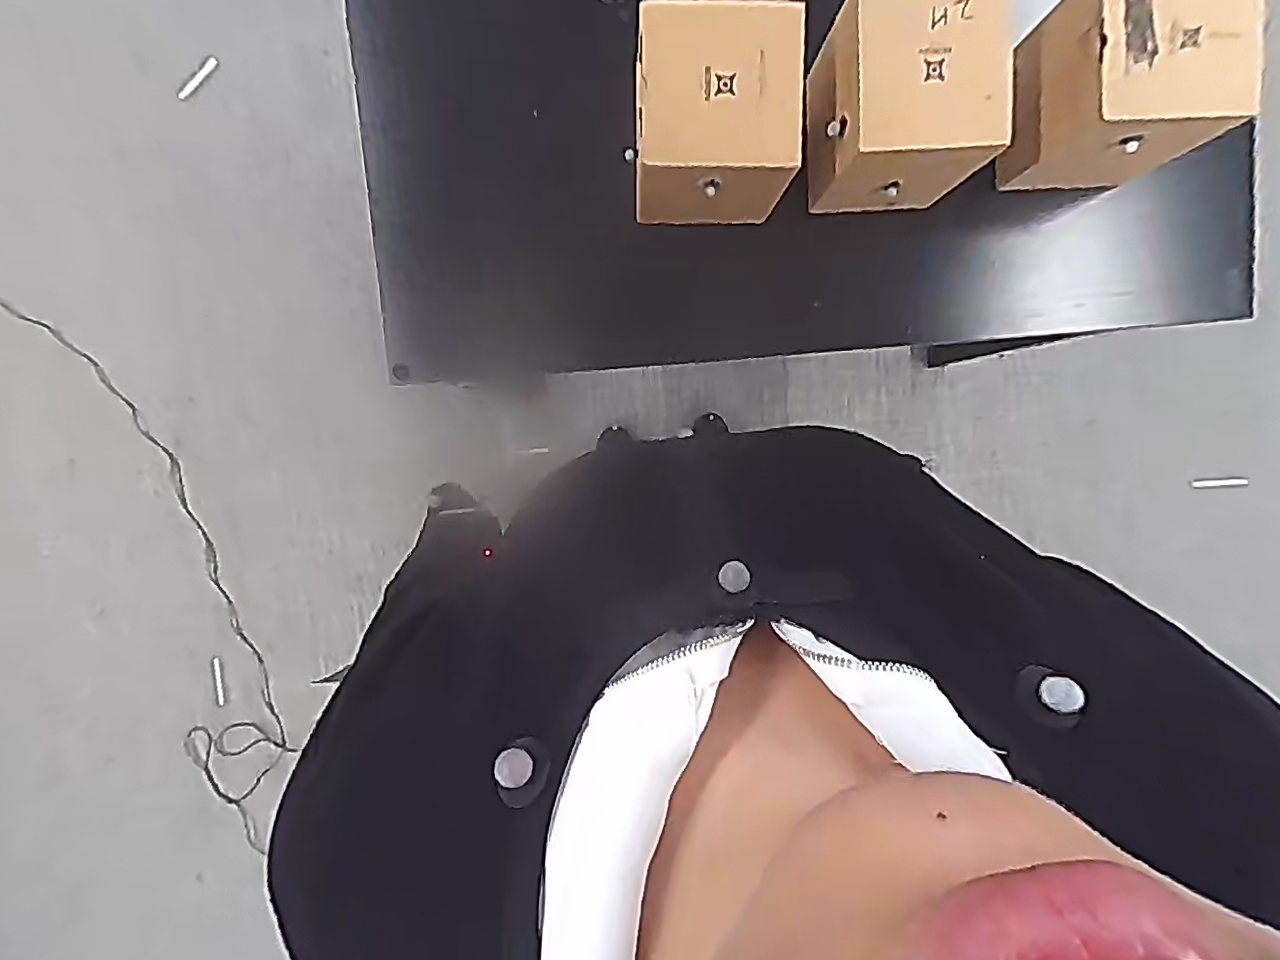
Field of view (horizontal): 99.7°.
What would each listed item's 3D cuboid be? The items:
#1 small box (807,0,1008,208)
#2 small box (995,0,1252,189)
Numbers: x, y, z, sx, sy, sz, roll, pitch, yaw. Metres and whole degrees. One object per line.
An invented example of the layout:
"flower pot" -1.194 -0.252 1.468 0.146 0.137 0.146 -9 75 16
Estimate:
"small box" 0.311 -0.450 0.661 0.168 0.176 0.179 -3 95 -1
"small box" 0.571 -0.477 0.661 0.179 0.176 0.168 -2 95 -1
